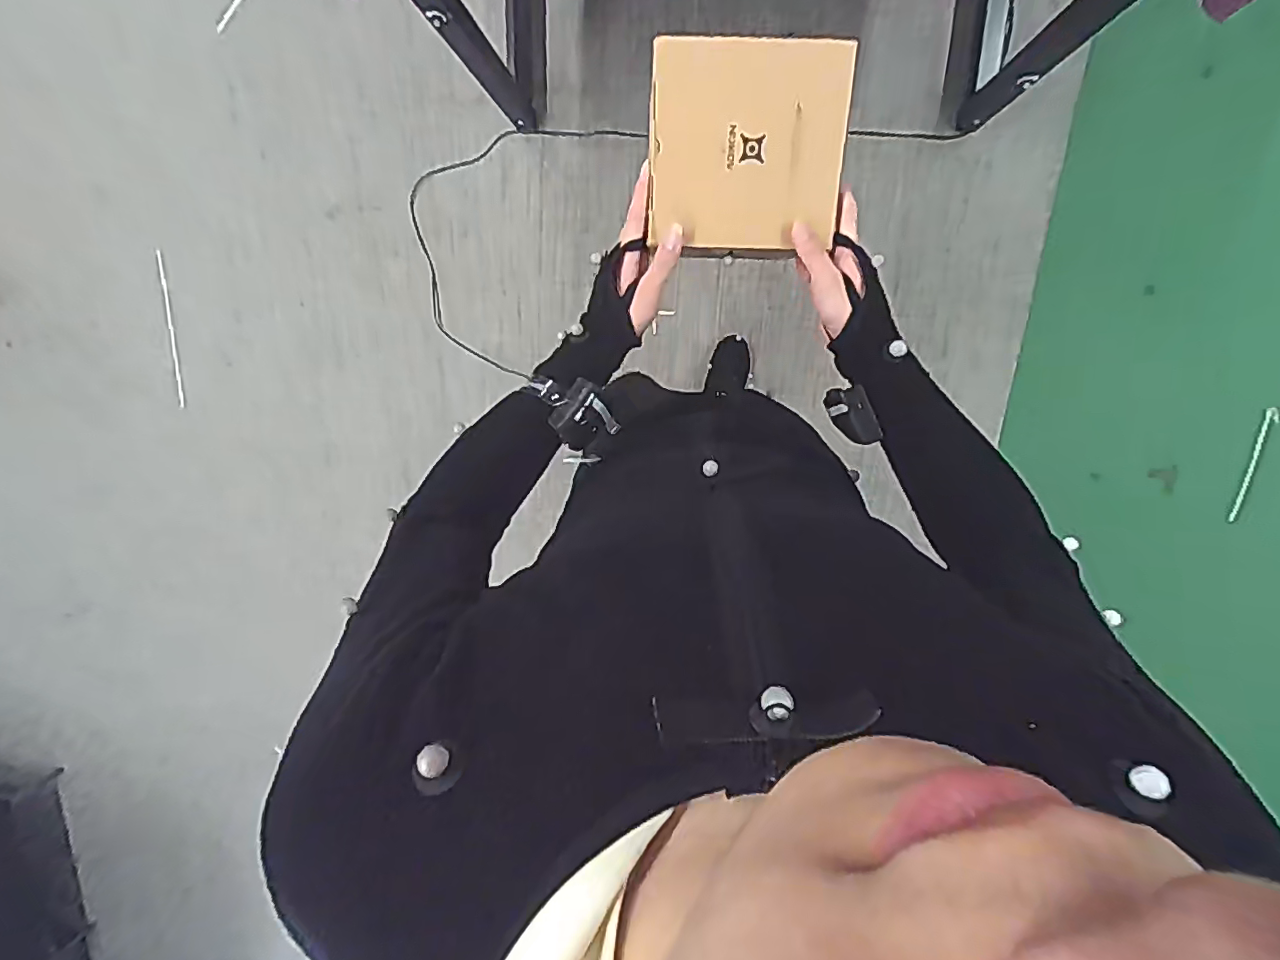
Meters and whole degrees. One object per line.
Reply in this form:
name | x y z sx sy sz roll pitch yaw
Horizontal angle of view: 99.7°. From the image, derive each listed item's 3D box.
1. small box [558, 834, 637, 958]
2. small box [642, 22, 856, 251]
small box | -0.104 1.068 1.397 0.168 0.176 0.179 8 103 6
small box | 0.094 -0.330 0.555 0.179 0.176 0.168 2 110 0
